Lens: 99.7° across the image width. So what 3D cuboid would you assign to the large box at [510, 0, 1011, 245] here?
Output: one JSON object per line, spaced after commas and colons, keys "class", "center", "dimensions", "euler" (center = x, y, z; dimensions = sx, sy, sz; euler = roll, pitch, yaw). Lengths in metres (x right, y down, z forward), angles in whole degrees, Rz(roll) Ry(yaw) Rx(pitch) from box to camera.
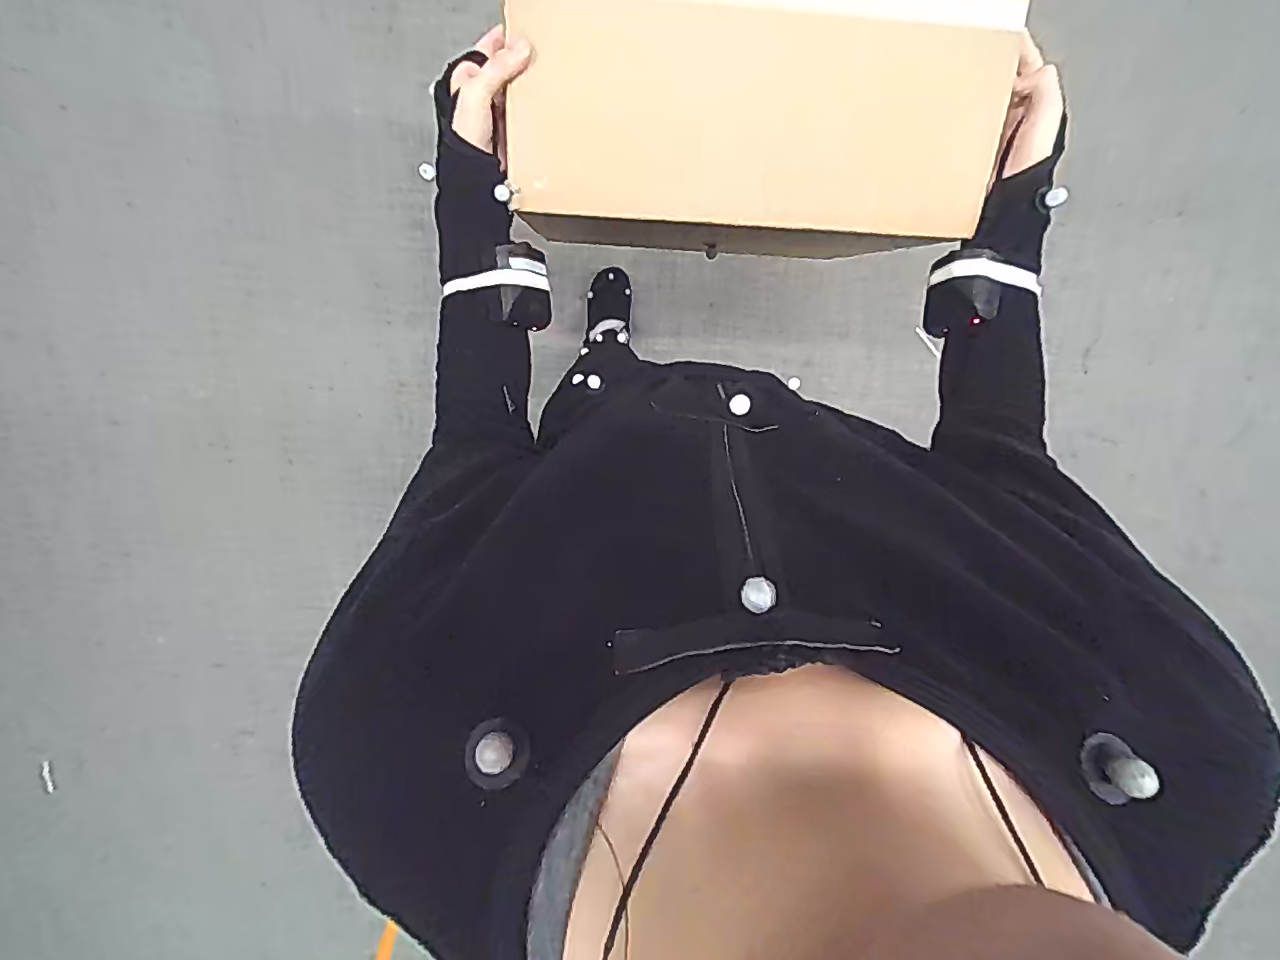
{"class": "large box", "center": [0.092, -0.425, 0.564], "dimensions": [0.408, 0.320, 0.320], "euler": [2, 109, -4]}
